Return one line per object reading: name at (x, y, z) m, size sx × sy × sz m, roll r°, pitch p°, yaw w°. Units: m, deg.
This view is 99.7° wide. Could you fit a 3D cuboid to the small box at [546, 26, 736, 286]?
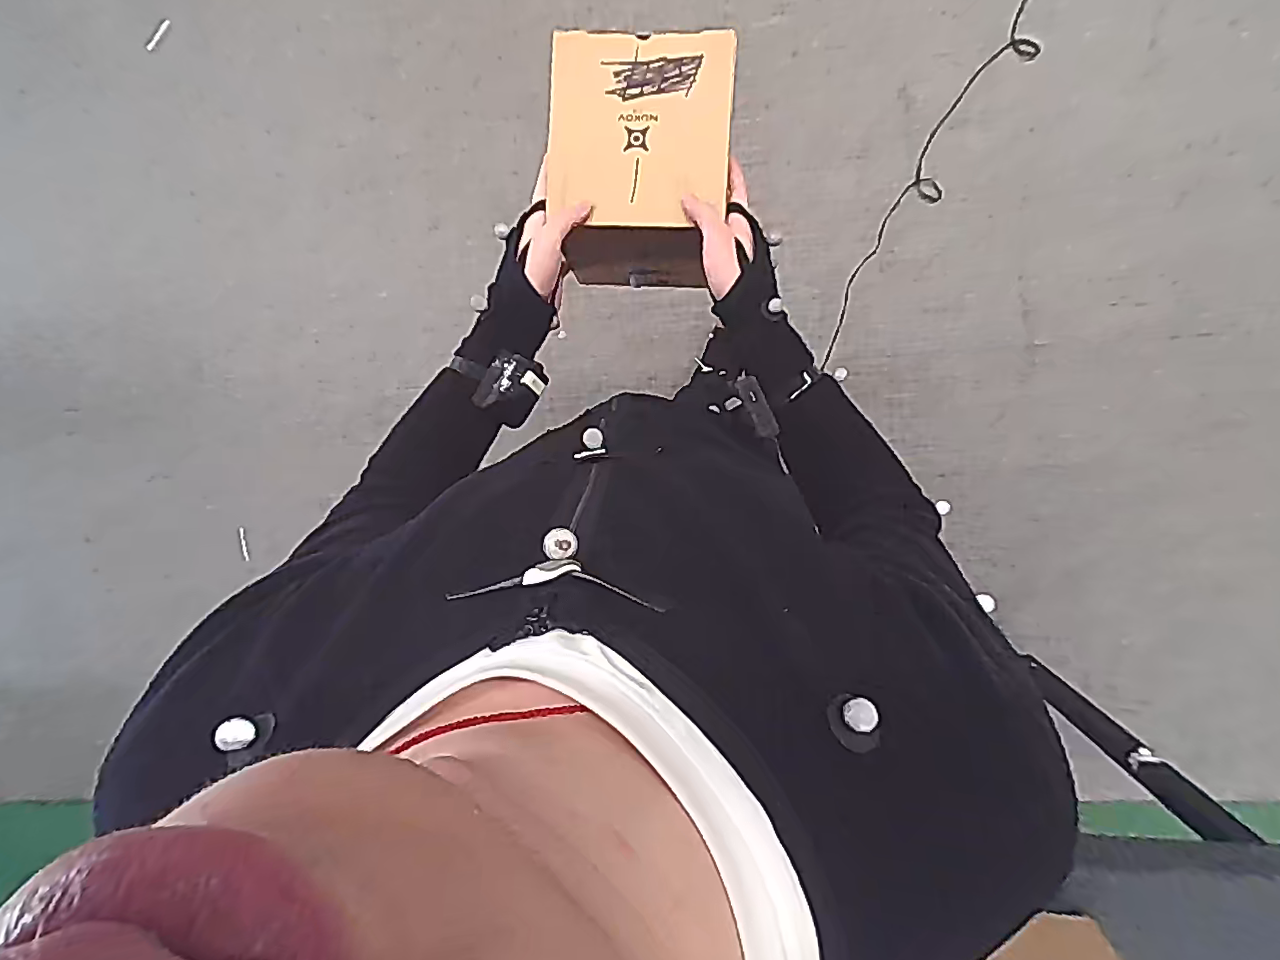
small box at (0.005, -0.322, 0.566) m, size 0.168 × 0.176 × 0.179 m, roll 3°, pitch 92°, yaw 5°
